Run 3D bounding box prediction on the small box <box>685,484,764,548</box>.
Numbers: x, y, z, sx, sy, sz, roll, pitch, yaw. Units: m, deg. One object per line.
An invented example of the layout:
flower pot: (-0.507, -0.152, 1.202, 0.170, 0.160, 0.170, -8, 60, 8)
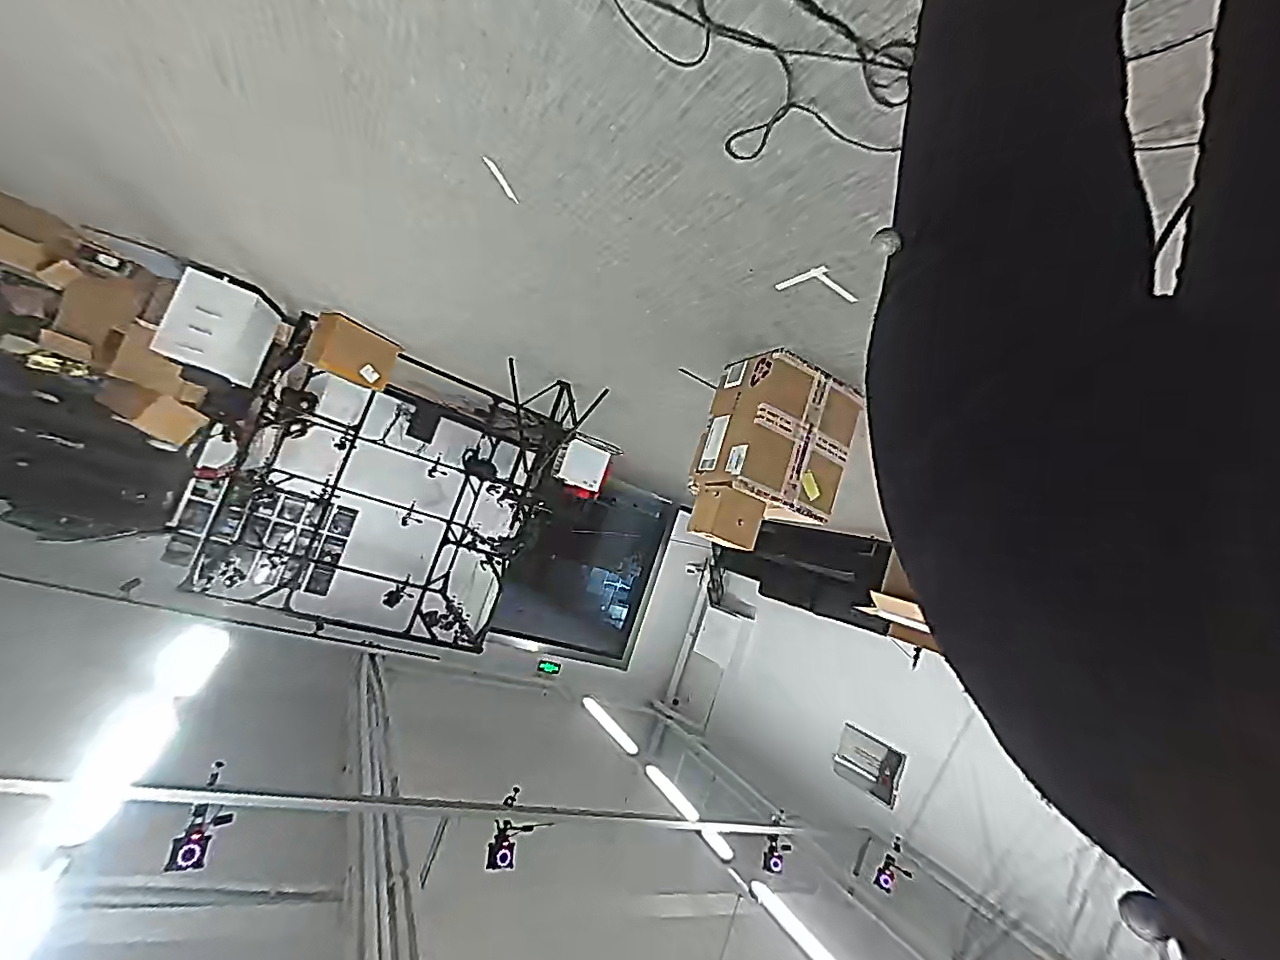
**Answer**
small box: (0.285, 0.118, 1.817, 0.179, 0.176, 0.168, 23, 170, -21)
